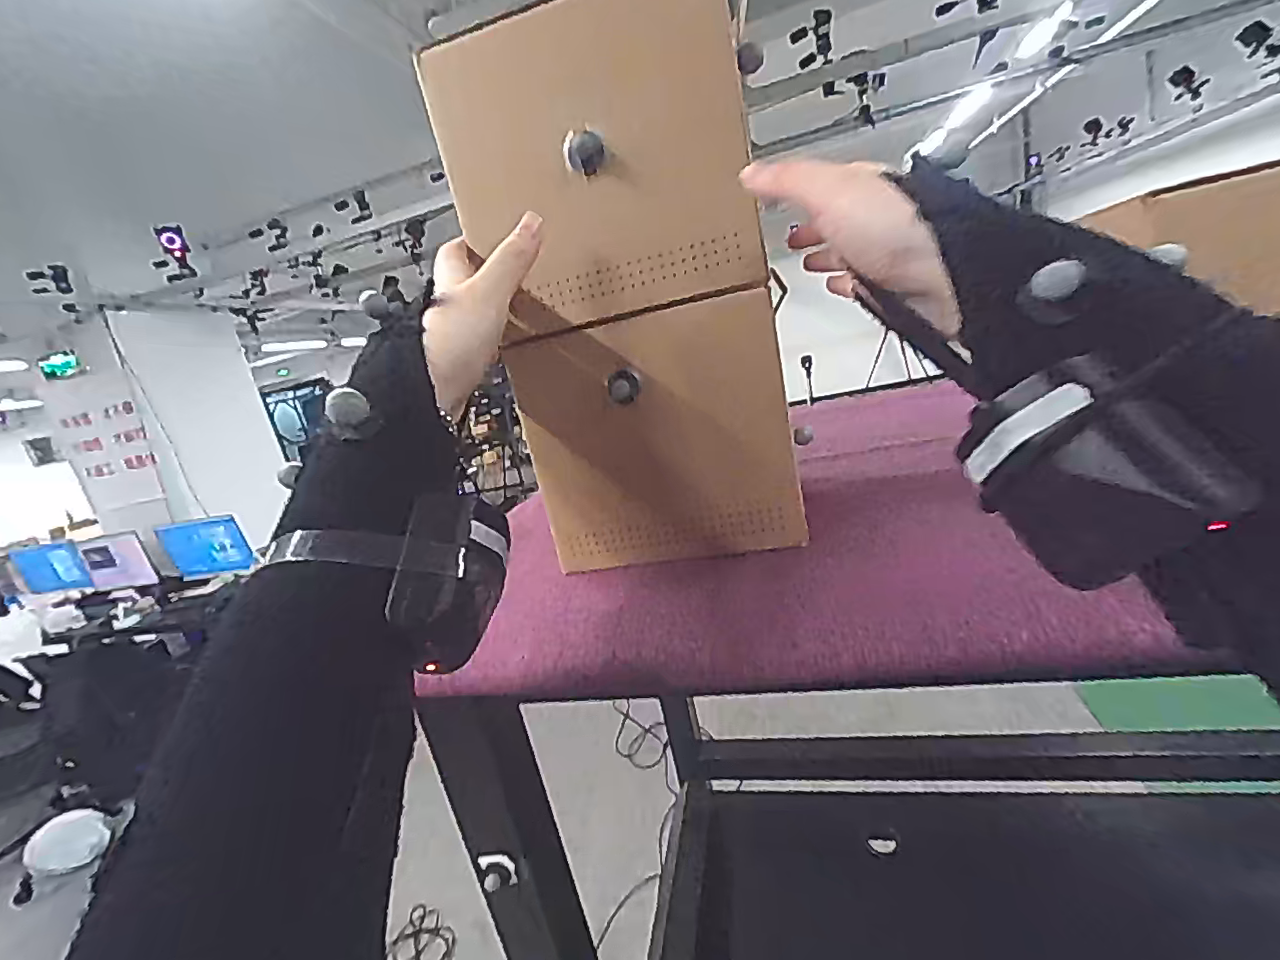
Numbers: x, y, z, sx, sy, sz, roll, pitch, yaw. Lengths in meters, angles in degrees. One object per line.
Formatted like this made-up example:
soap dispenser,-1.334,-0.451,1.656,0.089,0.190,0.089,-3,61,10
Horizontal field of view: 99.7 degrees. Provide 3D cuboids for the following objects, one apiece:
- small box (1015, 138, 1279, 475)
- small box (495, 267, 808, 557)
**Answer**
small box,0.373,-0.107,0.340,0.179,0.176,0.168,-8,13,15
small box,0.022,-0.050,0.414,0.179,0.176,0.168,-8,16,15
